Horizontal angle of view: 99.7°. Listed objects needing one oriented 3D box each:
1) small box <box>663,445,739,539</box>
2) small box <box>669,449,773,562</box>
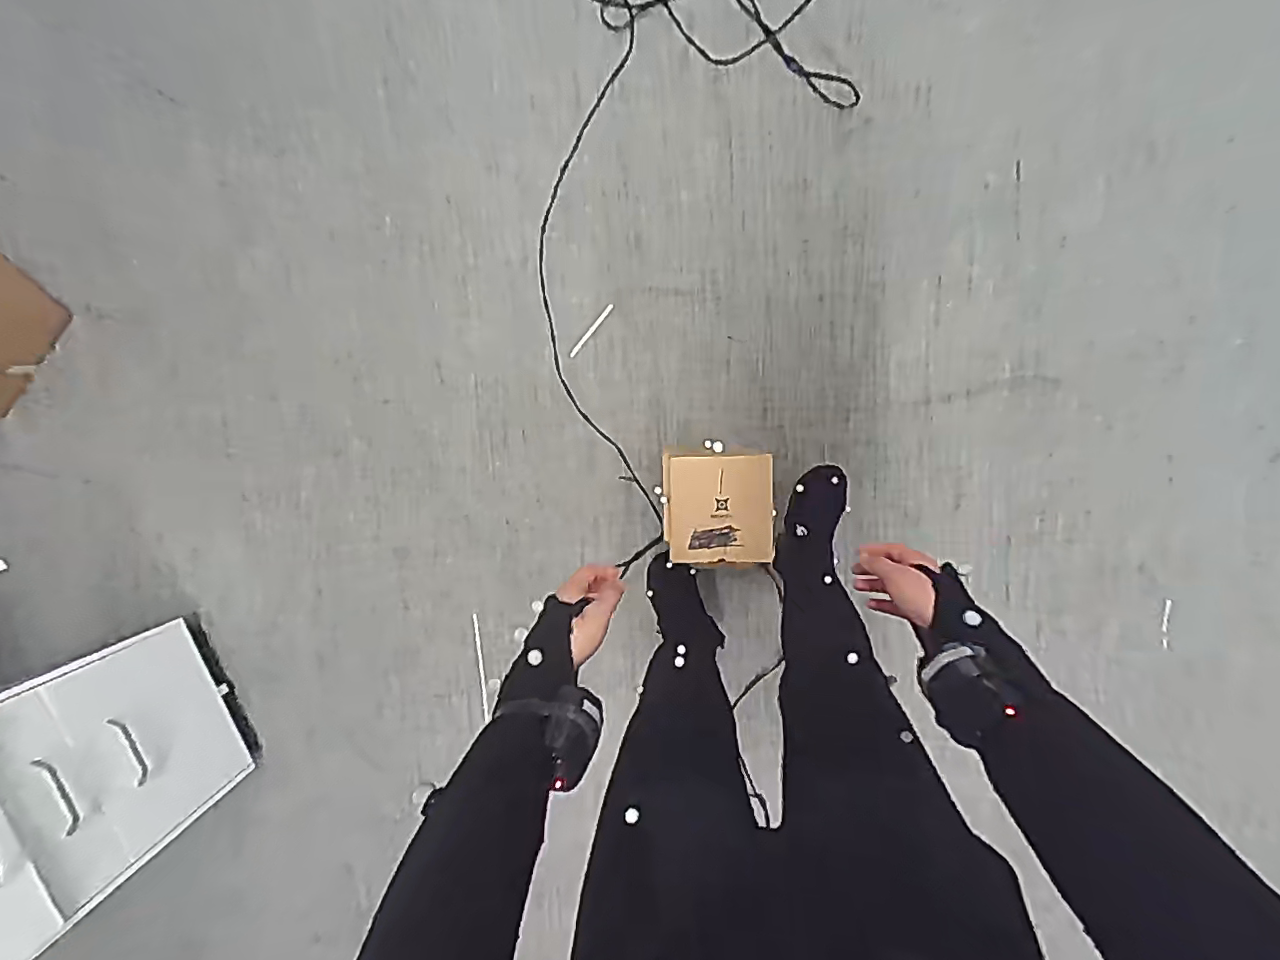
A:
[{"bbox_3d":[0.132,0.020,1.110,0.168,0.176,0.179,-1,96,3],"label":"small box"},{"bbox_3d":[0.134,0.037,0.946,0.168,0.176,0.179,0,95,3],"label":"small box"}]
